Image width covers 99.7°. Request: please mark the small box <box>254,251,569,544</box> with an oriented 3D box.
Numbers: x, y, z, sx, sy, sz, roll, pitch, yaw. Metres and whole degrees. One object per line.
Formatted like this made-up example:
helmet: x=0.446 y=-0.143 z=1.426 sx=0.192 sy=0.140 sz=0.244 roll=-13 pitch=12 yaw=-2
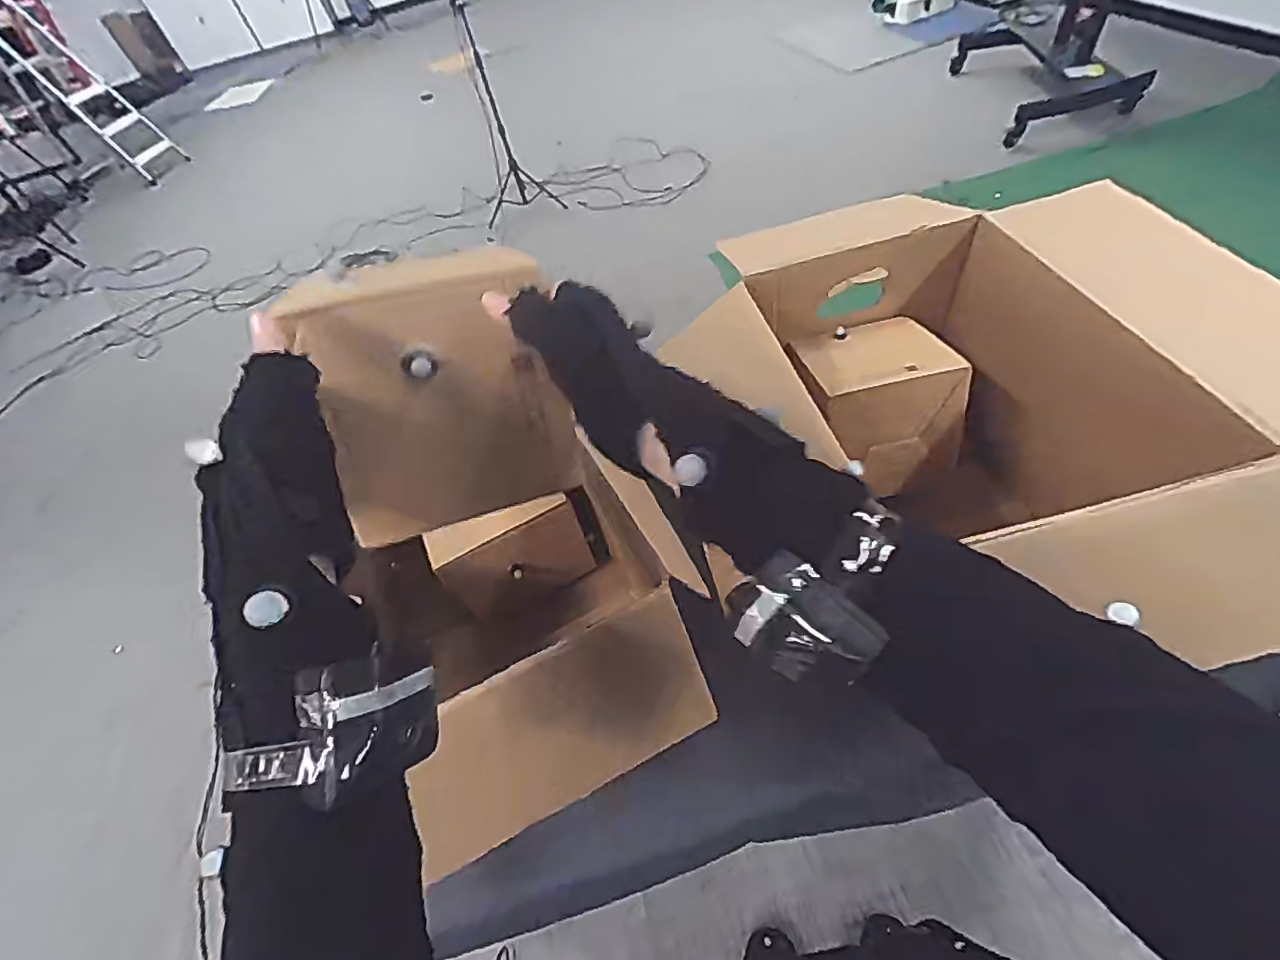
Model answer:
small box: x=-0.161 y=-0.081 z=0.434 sx=0.176 sy=0.168 sz=0.179 roll=-15 pitch=31 yaw=-14
